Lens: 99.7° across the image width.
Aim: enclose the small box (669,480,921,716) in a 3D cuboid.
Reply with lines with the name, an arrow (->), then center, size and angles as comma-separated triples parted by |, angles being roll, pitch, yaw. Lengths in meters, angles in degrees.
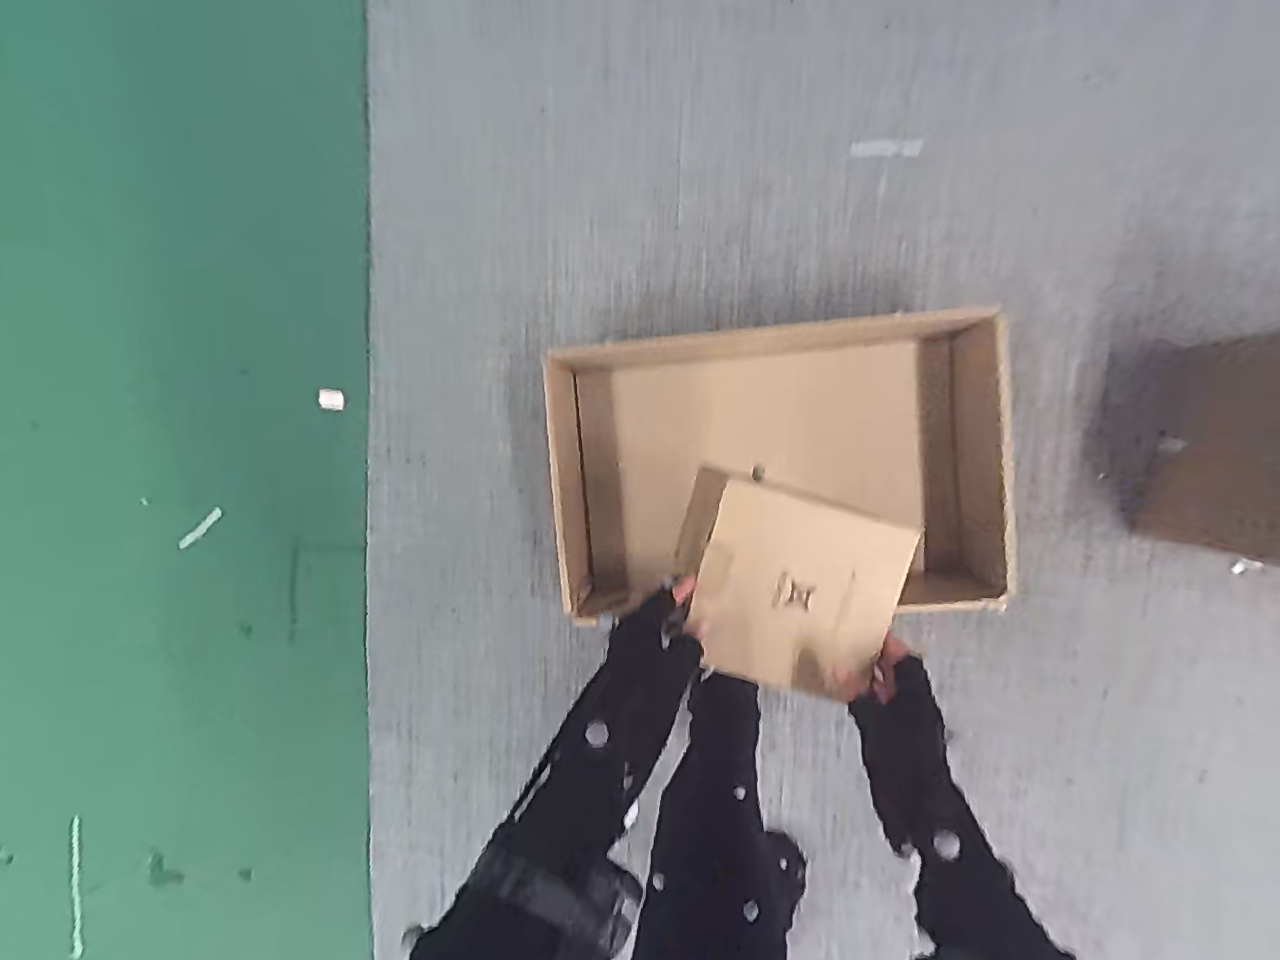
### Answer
small box -> 0.134, 0.101, 0.543 | 0.179, 0.176, 0.168 | 15, 95, -3
